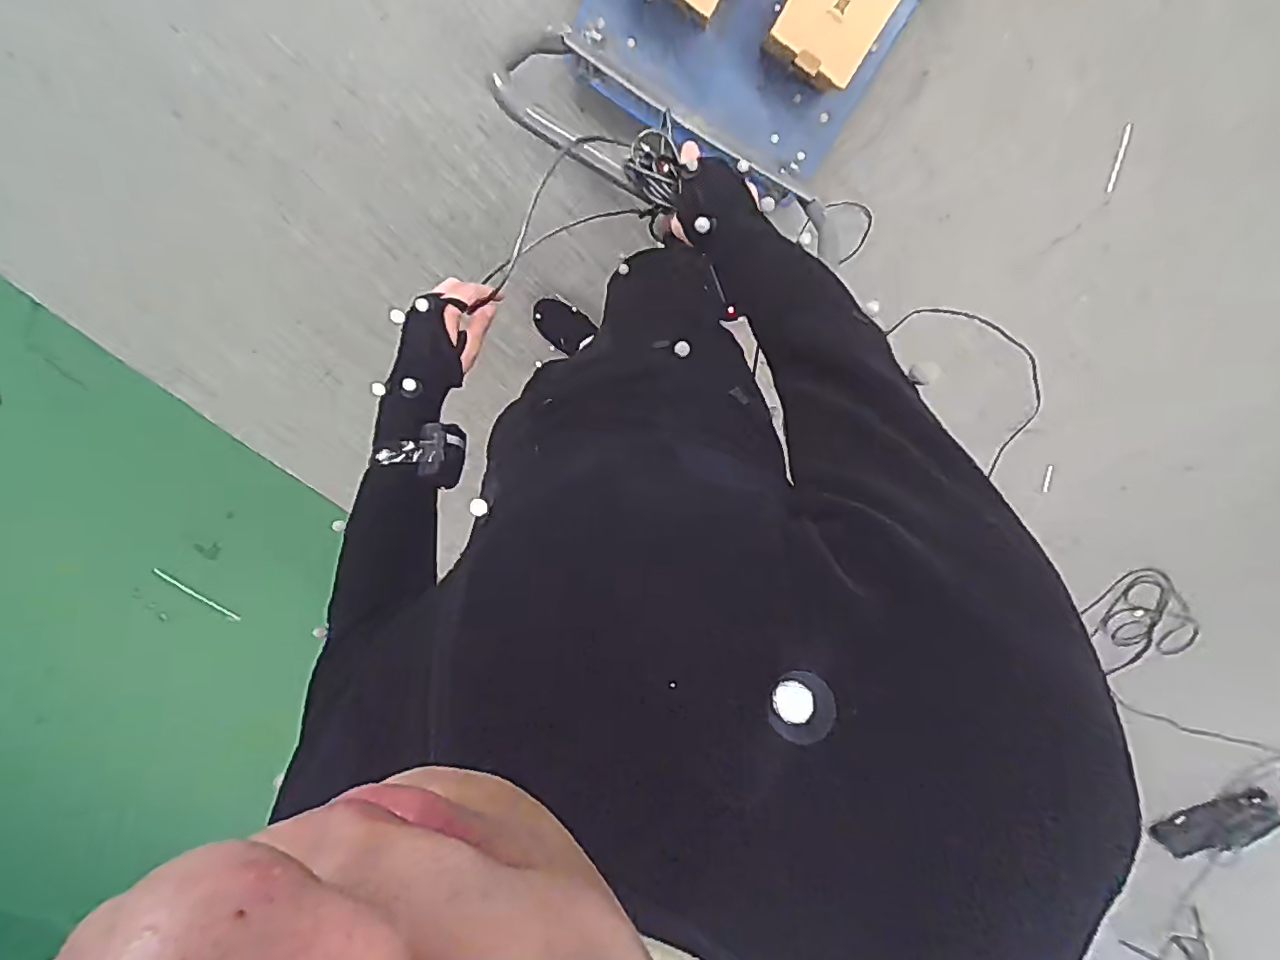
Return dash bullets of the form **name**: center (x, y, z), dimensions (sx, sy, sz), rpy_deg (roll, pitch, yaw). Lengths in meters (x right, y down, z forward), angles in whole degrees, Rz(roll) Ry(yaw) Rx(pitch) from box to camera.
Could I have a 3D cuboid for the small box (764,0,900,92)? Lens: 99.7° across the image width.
- **small box**: center (0.342, -0.846, 0.980), dimensions (0.168, 0.176, 0.179), rpy_deg (27, 124, -13)
